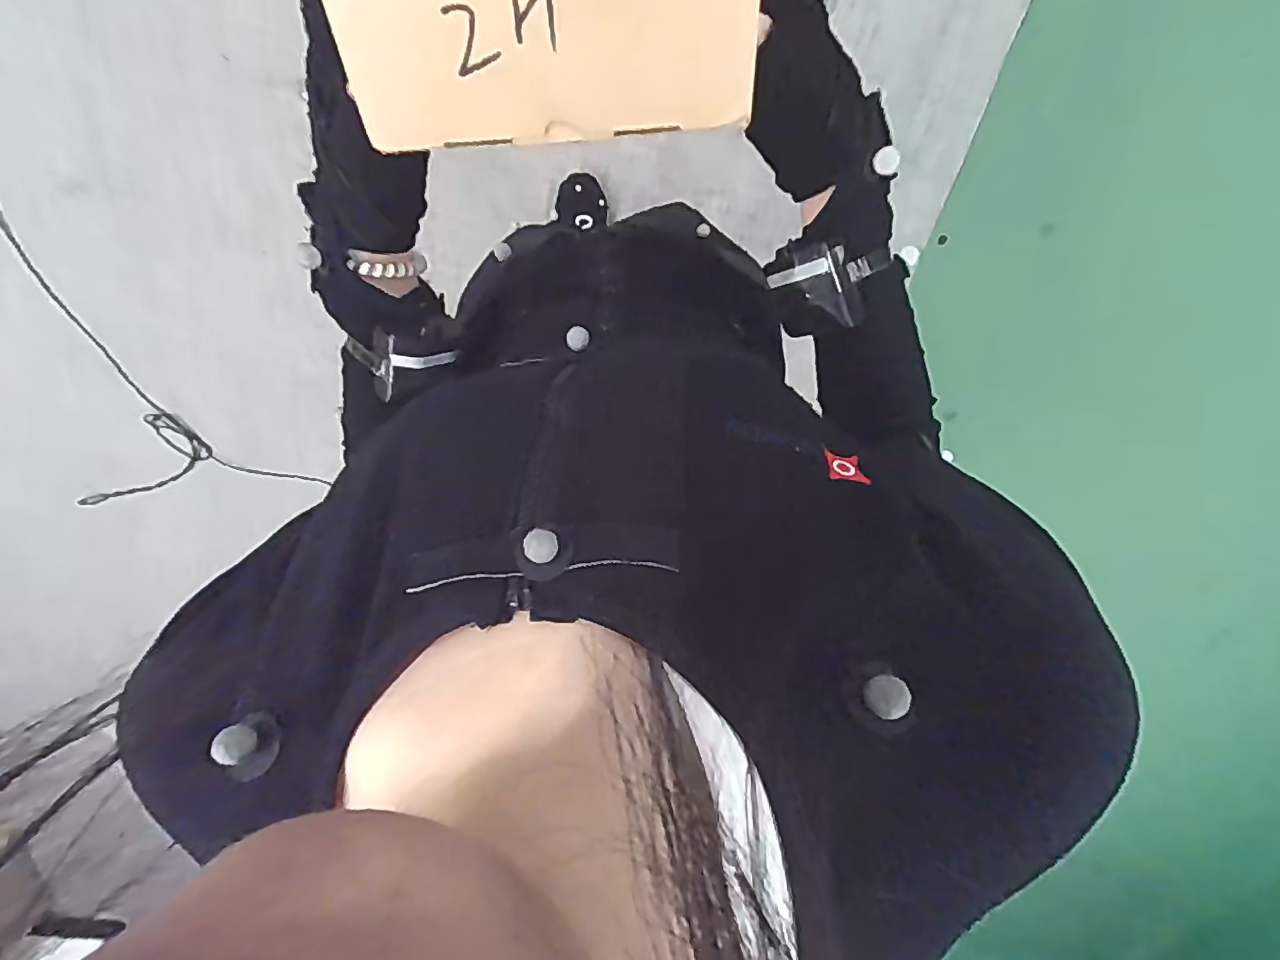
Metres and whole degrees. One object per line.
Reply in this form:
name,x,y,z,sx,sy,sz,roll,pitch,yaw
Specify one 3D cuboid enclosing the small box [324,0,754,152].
small box,-0.043,-0.265,0.242,0.168,0.176,0.179,-4,131,0
